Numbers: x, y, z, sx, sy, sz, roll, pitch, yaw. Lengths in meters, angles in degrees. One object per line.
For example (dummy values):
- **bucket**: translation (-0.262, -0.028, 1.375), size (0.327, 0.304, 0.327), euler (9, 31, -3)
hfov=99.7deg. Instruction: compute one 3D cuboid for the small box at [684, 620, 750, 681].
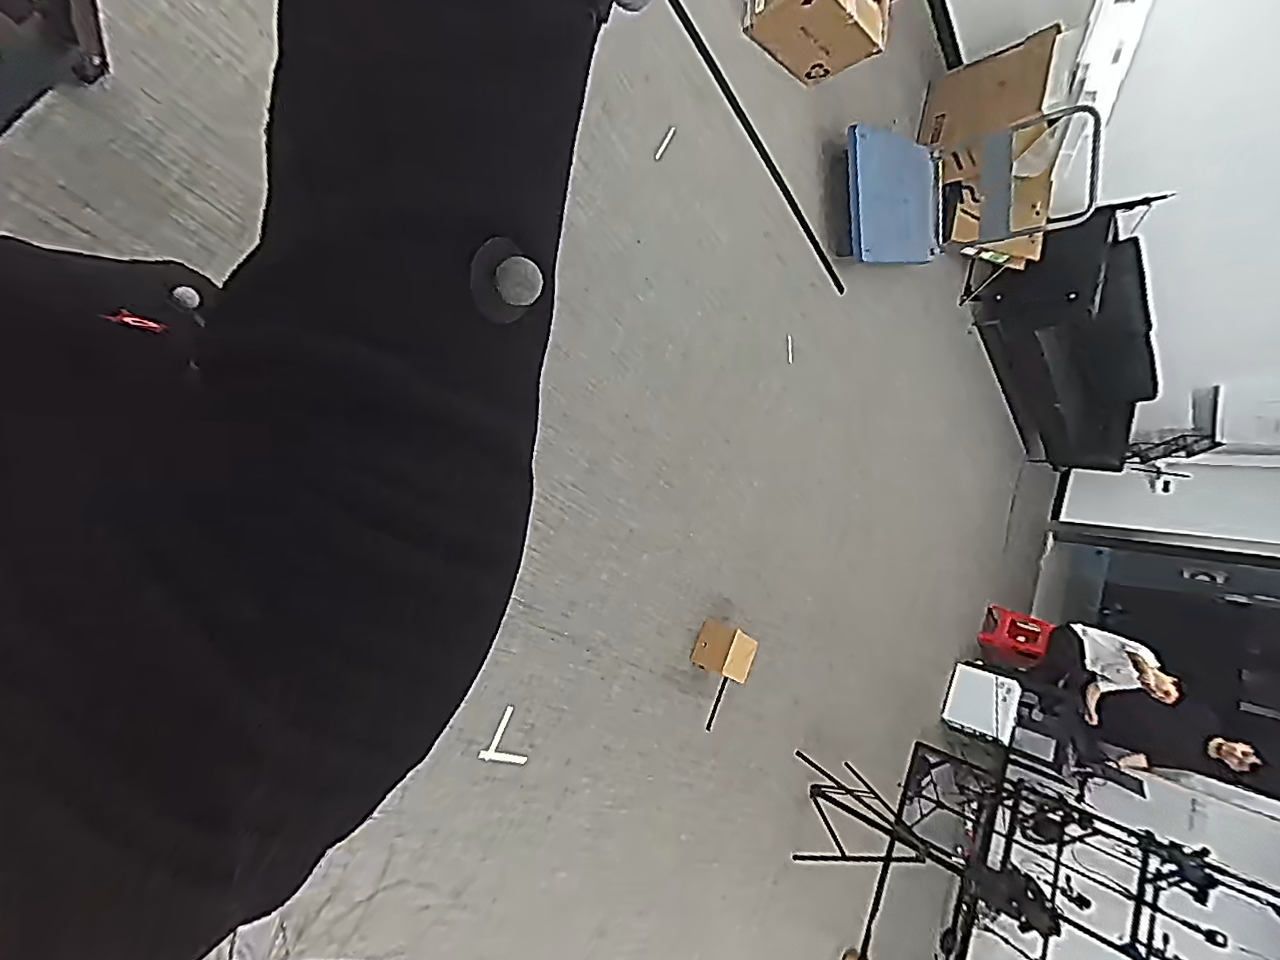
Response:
- **small box**: translation (0.313, 0.687, 2.170), size (0.168, 0.176, 0.179), euler (38, 69, -38)
